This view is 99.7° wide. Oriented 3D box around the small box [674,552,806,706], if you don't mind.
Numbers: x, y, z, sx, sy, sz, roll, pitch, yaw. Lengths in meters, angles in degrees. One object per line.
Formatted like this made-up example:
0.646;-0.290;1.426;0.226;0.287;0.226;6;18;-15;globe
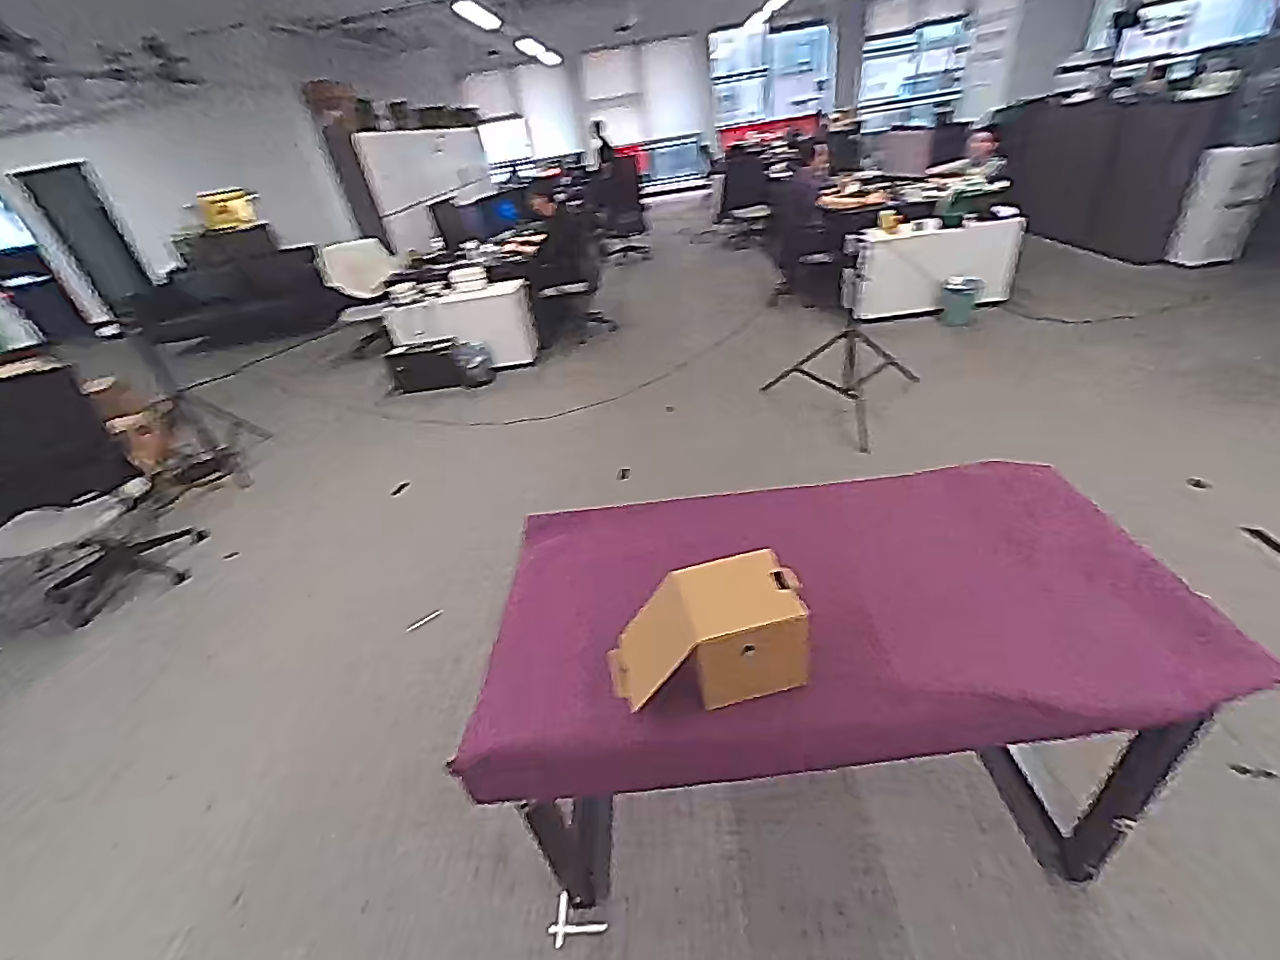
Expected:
0.168;0.252;0.913;0.179;0.176;0.168;-13;32;-3;small box
